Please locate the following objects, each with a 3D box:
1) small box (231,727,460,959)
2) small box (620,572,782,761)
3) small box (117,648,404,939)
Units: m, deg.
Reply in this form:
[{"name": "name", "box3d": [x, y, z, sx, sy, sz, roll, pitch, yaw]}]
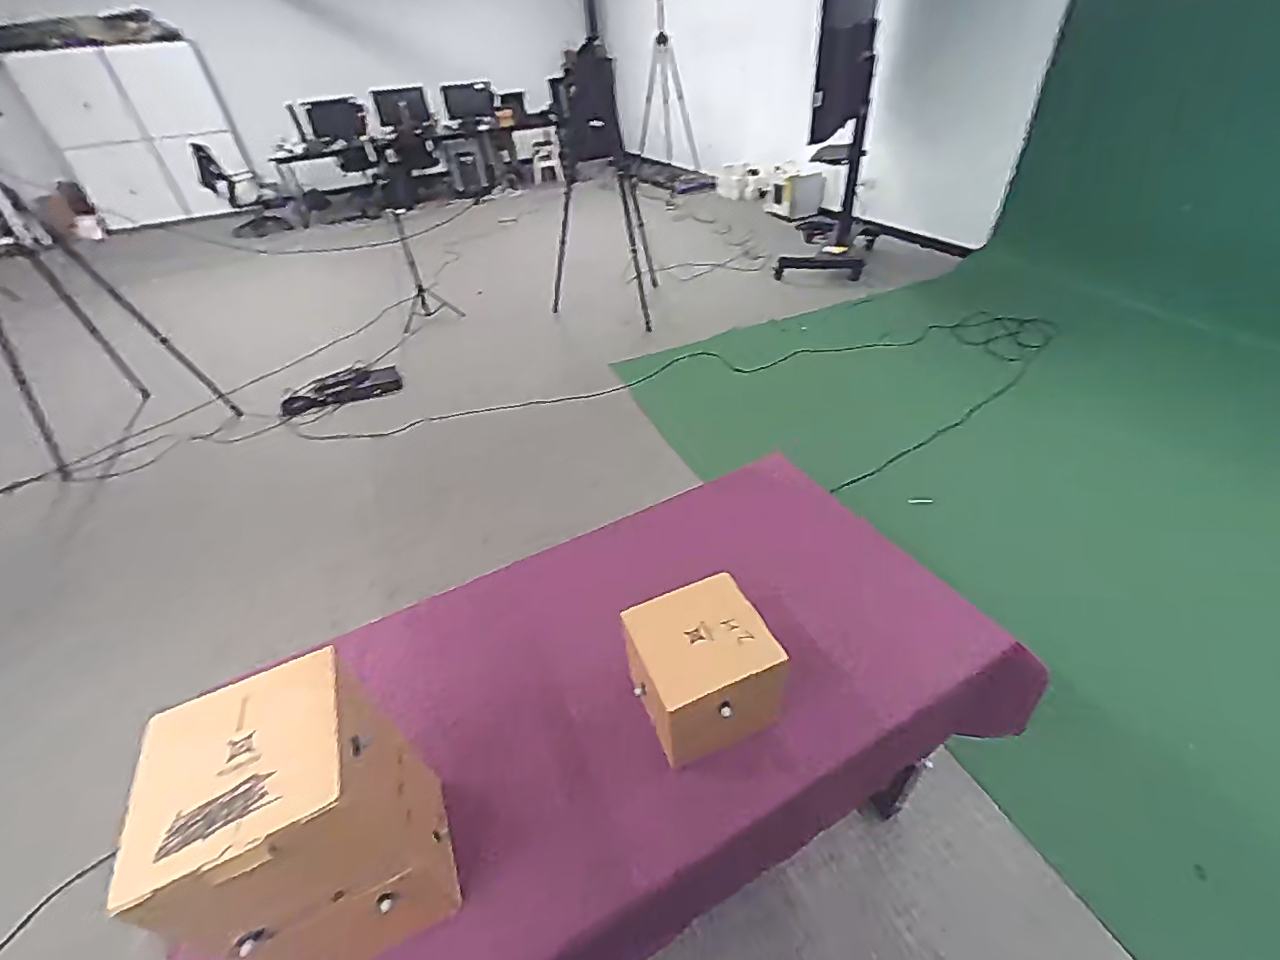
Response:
[{"name": "small box", "box3d": [-0.336, 0.442, 0.642, 0.179, 0.176, 0.168, -20, 41, -17]}, {"name": "small box", "box3d": [0.086, 0.271, 0.787, 0.179, 0.176, 0.168, -18, 41, -14]}, {"name": "small box", "box3d": [-0.353, 0.313, 0.541, 0.168, 0.176, 0.179, -21, 40, -18]}]
